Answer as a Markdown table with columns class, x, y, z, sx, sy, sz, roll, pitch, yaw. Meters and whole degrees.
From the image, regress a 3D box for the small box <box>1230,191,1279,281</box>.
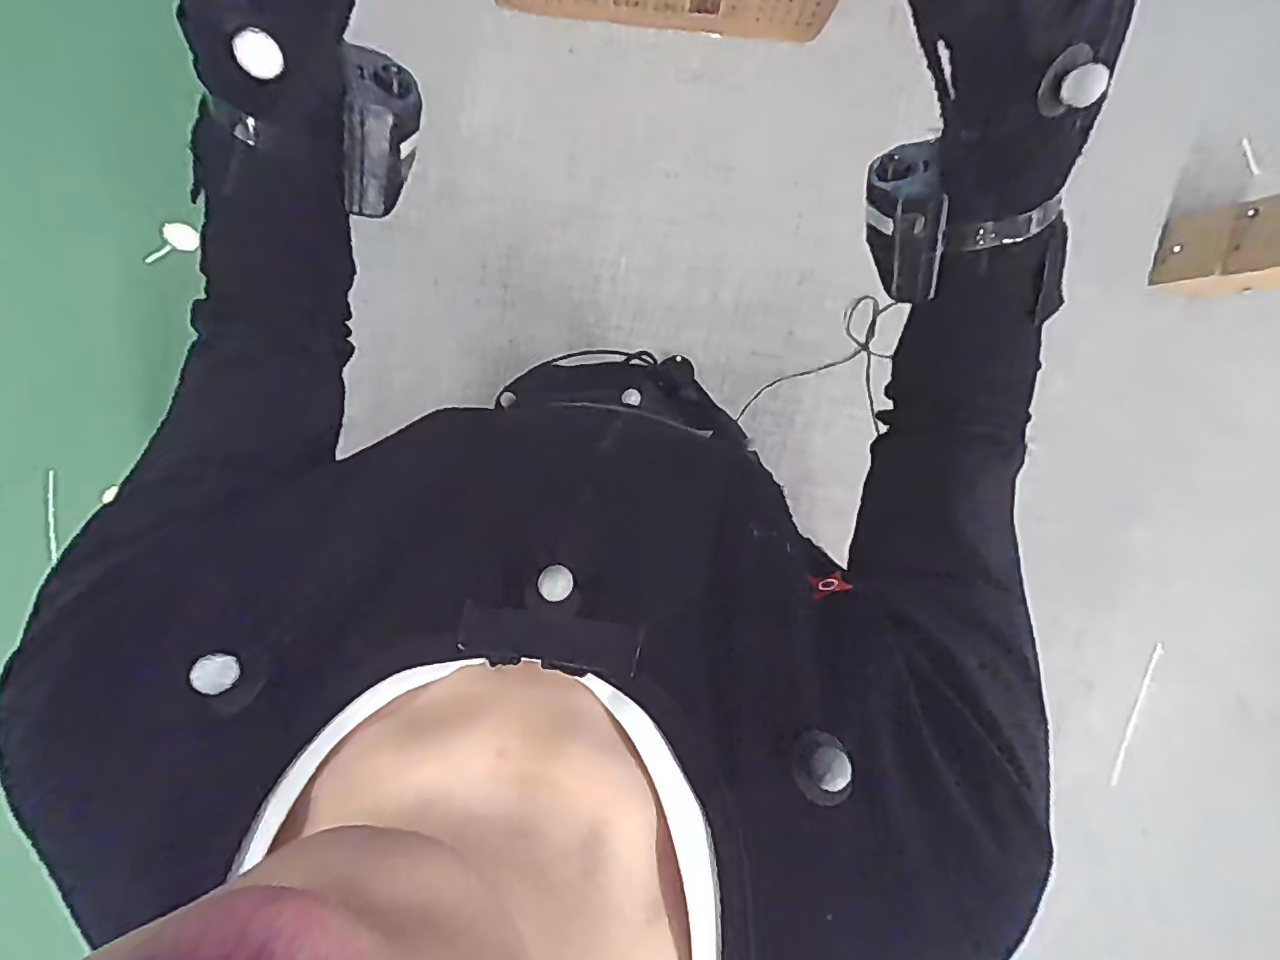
| class | x | y | z | sx | sy | sz | roll | pitch | yaw |
| --- | --- | --- | --- | --- | --- | --- | --- | --- | --- |
| small box | 1.436 | -0.527 | 1.146 | 0.179 | 0.176 | 0.168 | 7 | 101 | -3 |

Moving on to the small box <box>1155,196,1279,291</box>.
| class | x | y | z | sx | sy | sz | roll | pitch | yaw |
| --- | --- | --- | --- | --- | --- | --- | --- | --- | --- |
| small box | 1.426 | -0.561 | 1.307 | 0.179 | 0.176 | 0.168 | 8 | 101 | -2 |
